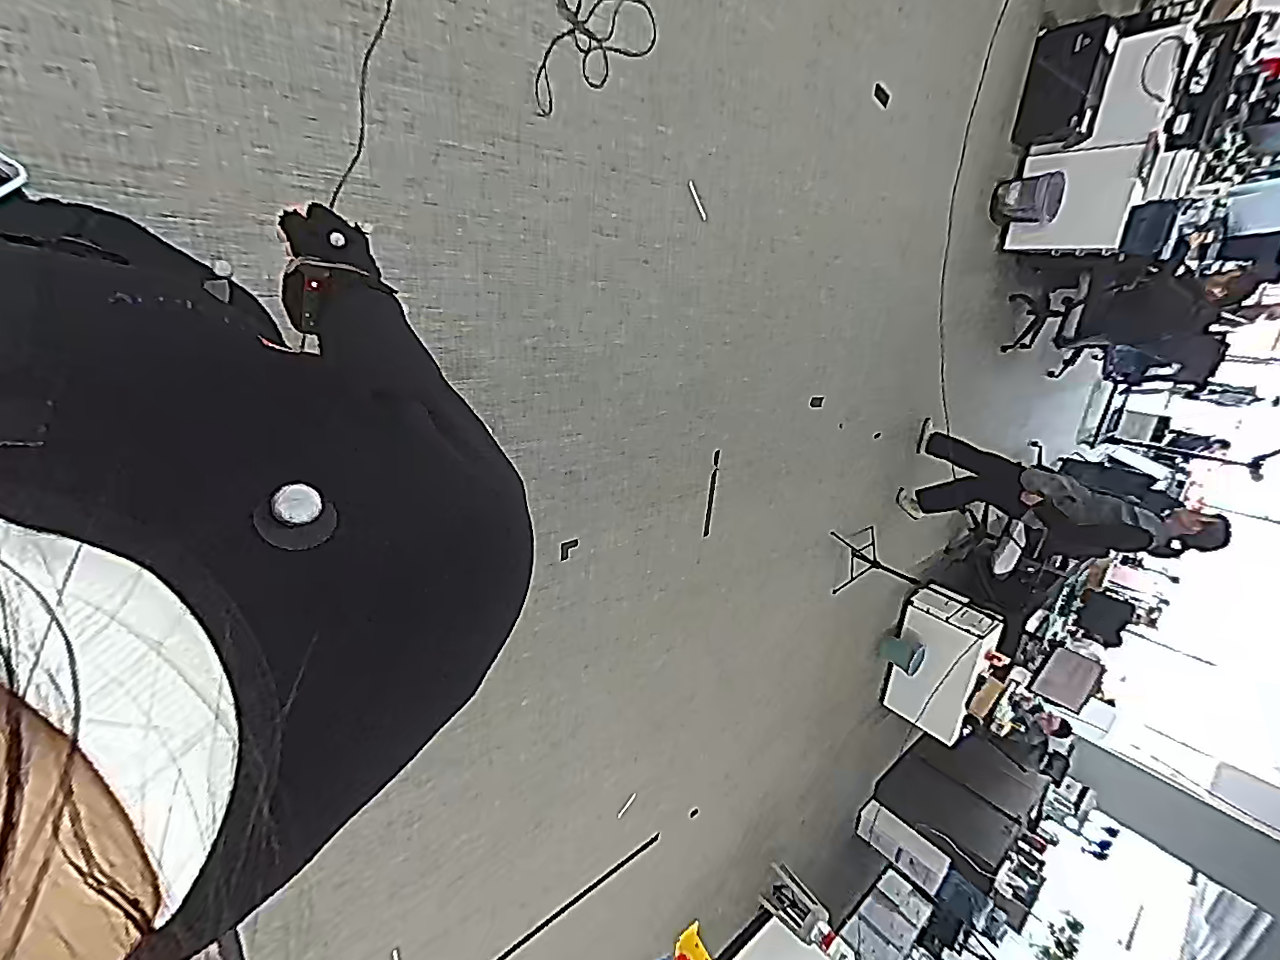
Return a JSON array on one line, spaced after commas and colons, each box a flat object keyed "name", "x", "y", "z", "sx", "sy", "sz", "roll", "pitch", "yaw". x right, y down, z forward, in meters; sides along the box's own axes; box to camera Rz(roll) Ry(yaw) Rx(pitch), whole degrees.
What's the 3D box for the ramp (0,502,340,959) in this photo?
[{"name": "ramp", "x": -1.034, "y": 0.574, "z": 1.228, "sx": 0.509, "sy": 0.206, "sz": 0.991, "roll": -13, "pitch": 114, "yaw": -36}]
